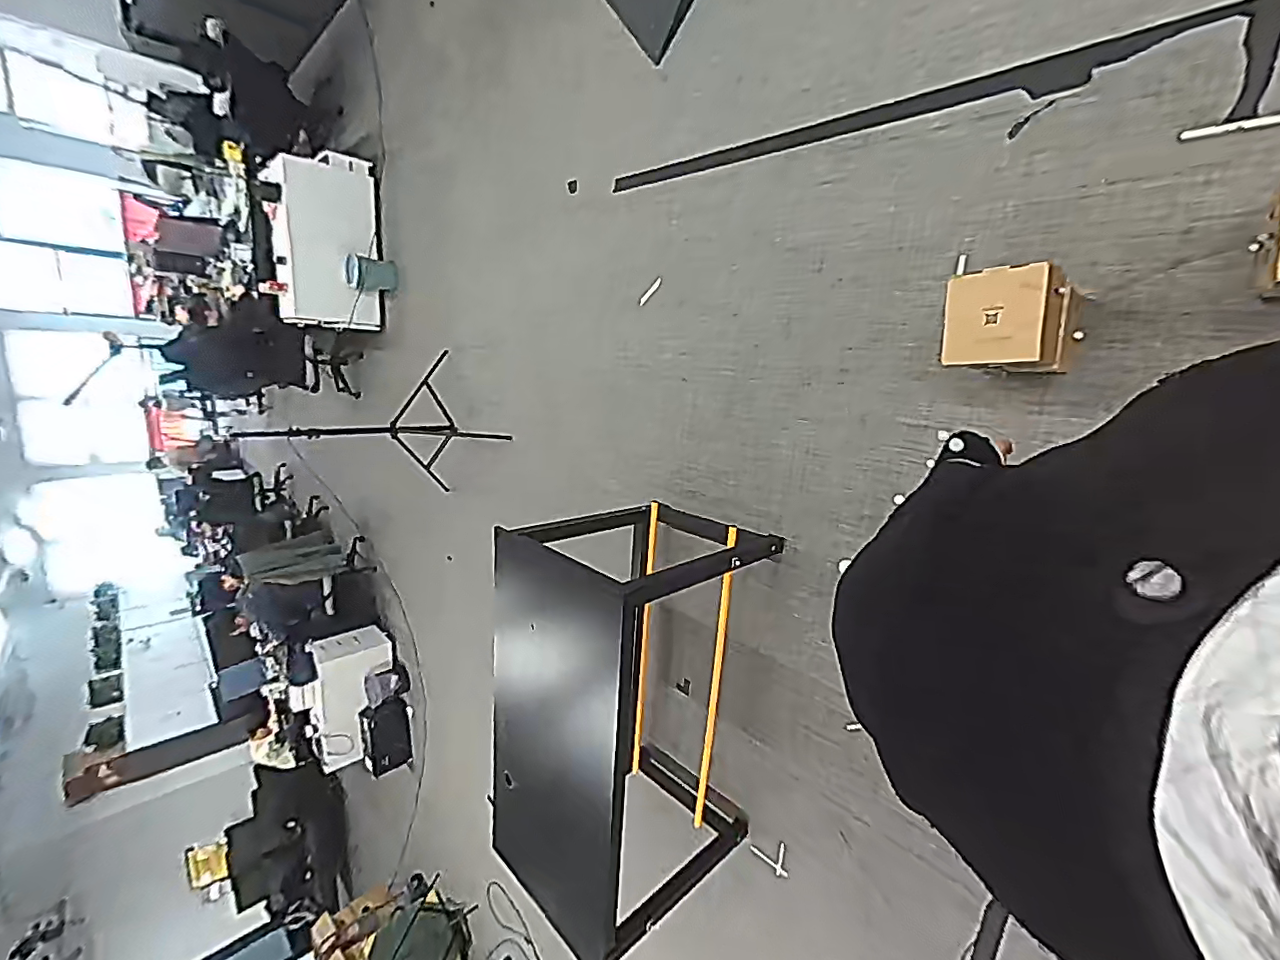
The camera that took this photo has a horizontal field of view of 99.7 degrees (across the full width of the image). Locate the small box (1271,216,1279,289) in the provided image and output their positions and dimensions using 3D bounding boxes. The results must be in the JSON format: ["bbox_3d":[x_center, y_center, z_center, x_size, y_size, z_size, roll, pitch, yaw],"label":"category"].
[{"bbox_3d":[1.022,-0.369,0.756,0.168,0.176,0.179,7,102,46],"label":"small box"}]

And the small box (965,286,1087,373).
[{"bbox_3d":[0.845,-0.322,1.185,0.179,0.176,0.168,13,105,44],"label":"small box"}]

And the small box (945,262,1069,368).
[{"bbox_3d":[0.728,-0.316,1.071,0.168,0.176,0.179,9,103,47],"label":"small box"}]

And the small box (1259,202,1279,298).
[{"bbox_3d":[1.142,-0.394,0.865,0.179,0.176,0.168,9,102,45],"label":"small box"}]
